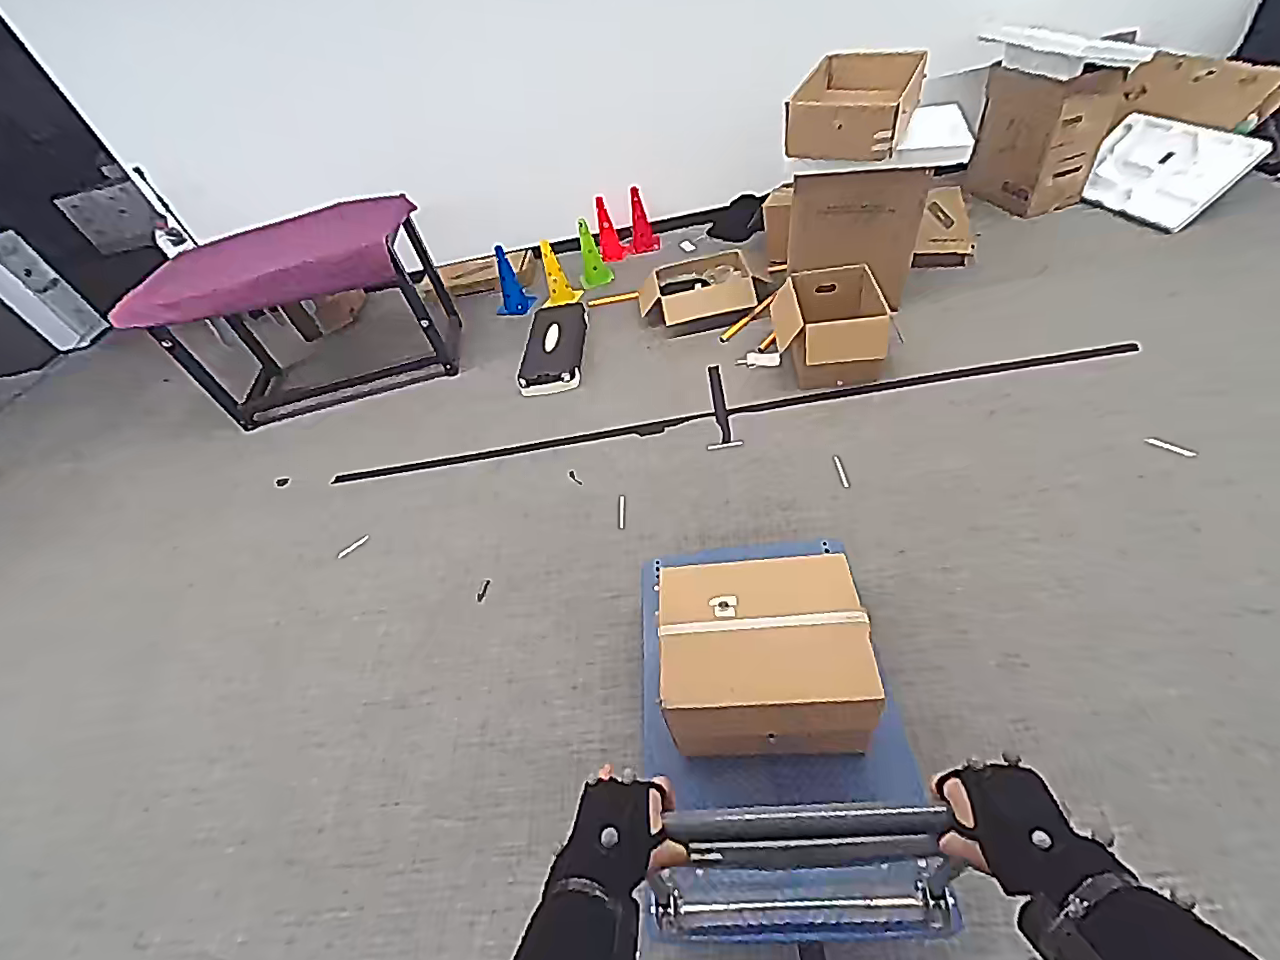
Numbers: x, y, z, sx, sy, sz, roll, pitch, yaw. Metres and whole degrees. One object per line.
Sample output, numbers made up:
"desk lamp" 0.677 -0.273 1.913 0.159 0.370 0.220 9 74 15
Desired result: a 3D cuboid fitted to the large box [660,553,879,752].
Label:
"large box" 0.270 0.394 1.207 0.408 0.320 0.320 -7 46 9
